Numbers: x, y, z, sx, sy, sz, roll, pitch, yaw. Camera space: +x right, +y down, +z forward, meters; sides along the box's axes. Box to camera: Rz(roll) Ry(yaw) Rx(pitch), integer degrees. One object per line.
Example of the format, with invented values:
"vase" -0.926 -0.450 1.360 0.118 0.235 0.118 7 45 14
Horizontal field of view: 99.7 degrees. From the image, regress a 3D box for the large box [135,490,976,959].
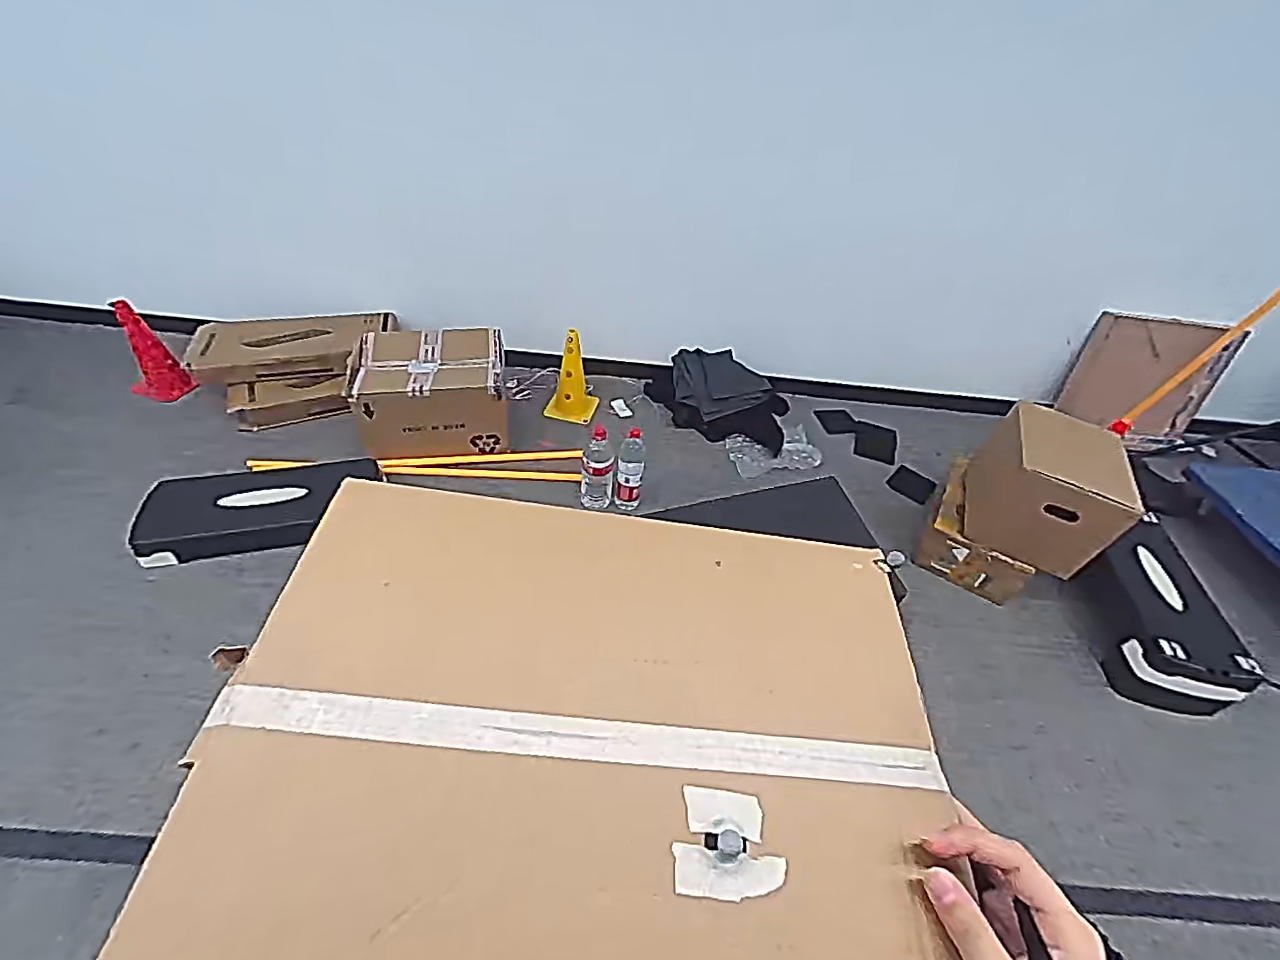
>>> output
"large box" -0.043 0.243 0.431 0.408 0.320 0.320 9 51 -6
